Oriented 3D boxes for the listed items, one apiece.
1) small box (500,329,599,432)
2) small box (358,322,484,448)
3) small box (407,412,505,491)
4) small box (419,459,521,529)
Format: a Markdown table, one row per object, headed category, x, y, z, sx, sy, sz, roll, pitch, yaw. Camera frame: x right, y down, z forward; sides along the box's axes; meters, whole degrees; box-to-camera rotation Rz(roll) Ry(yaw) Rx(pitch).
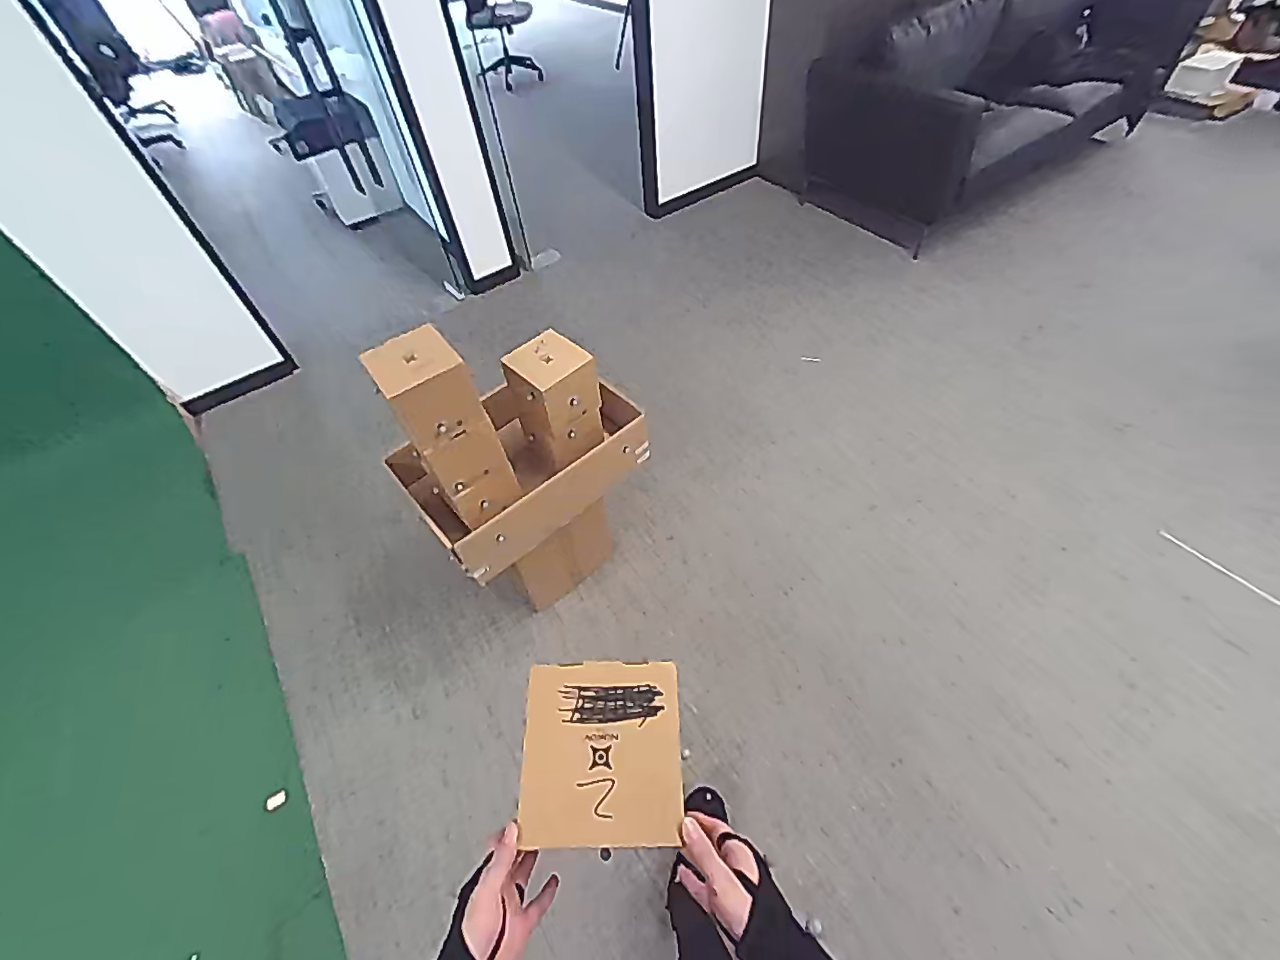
| category | x | y | z | sx | sy | sz | roll | pitch | yaw |
| --- | --- | --- | --- | --- | --- | --- | --- | --- | --- |
| small box | -0.222 | -0.246 | 1.376 | 0.168 | 0.176 | 0.179 | -38 | 59 | -24 |
| small box | -0.461 | -0.200 | 1.154 | 0.168 | 0.176 | 0.179 | -32 | 56 | -18 |
| small box | -0.445 | -0.098 | 1.280 | 0.168 | 0.176 | 0.179 | -33 | 55 | -20 |
| small box | -0.435 | 0.005 | 1.408 | 0.168 | 0.176 | 0.179 | -37 | 57 | -22 |
